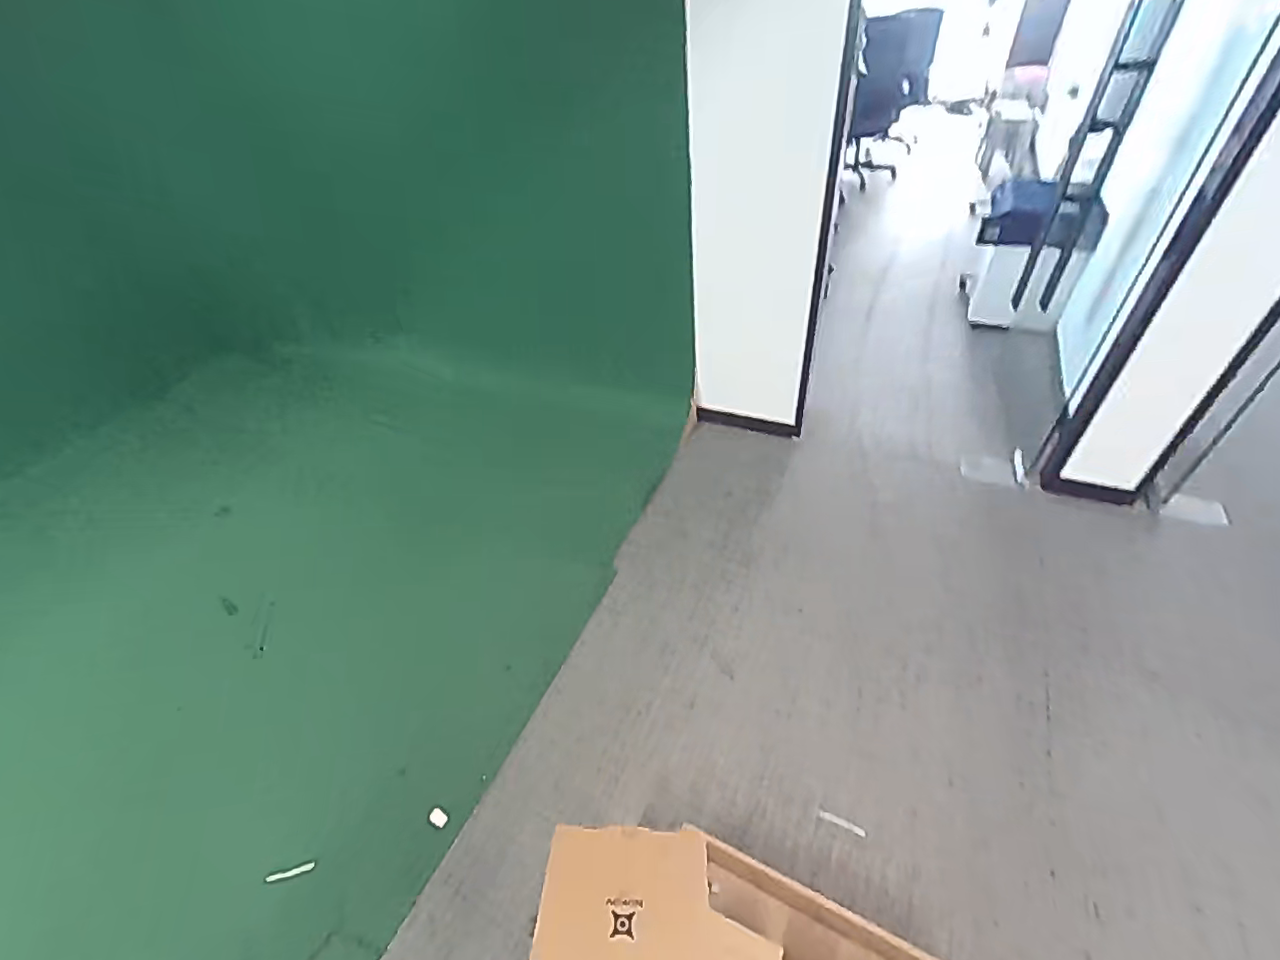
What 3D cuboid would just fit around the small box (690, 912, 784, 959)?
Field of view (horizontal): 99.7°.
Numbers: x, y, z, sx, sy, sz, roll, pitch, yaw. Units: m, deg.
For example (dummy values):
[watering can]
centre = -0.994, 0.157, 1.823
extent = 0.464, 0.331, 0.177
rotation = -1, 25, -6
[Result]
[small box]
centre = 0.171, 0.990, 1.043
extent = 0.168, 0.176, 0.179
rotation = 16, 48, 21
